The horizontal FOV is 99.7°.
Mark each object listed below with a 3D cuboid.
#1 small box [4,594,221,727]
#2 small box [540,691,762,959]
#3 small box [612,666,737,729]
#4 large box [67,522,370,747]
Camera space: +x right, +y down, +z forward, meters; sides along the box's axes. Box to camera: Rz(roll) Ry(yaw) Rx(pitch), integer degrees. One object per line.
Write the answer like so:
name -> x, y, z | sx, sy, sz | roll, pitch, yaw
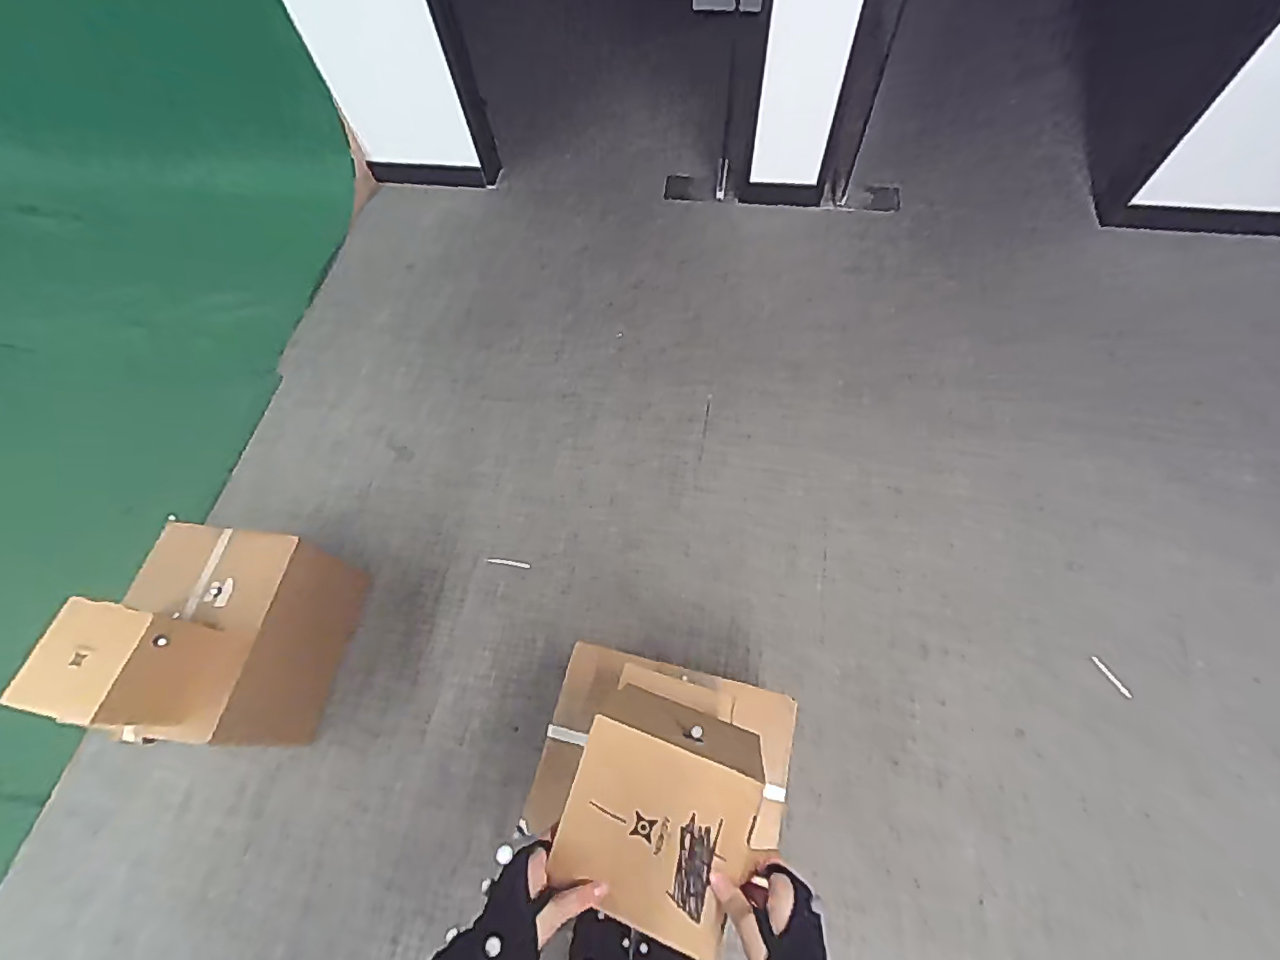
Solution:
small box -> -0.888, 0.317, 0.935 | 0.168, 0.176, 0.179 | 10, 63, 7
small box -> 0.023, 0.351, 0.594 | 0.179, 0.176, 0.168 | 18, 82, 14
small box -> 0.037, 0.408, 0.839 | 0.179, 0.176, 0.168 | 15, 63, 11
large box -> -0.877, 0.348, 1.194 | 0.320, 0.320, 0.408 | 6, 63, 7
